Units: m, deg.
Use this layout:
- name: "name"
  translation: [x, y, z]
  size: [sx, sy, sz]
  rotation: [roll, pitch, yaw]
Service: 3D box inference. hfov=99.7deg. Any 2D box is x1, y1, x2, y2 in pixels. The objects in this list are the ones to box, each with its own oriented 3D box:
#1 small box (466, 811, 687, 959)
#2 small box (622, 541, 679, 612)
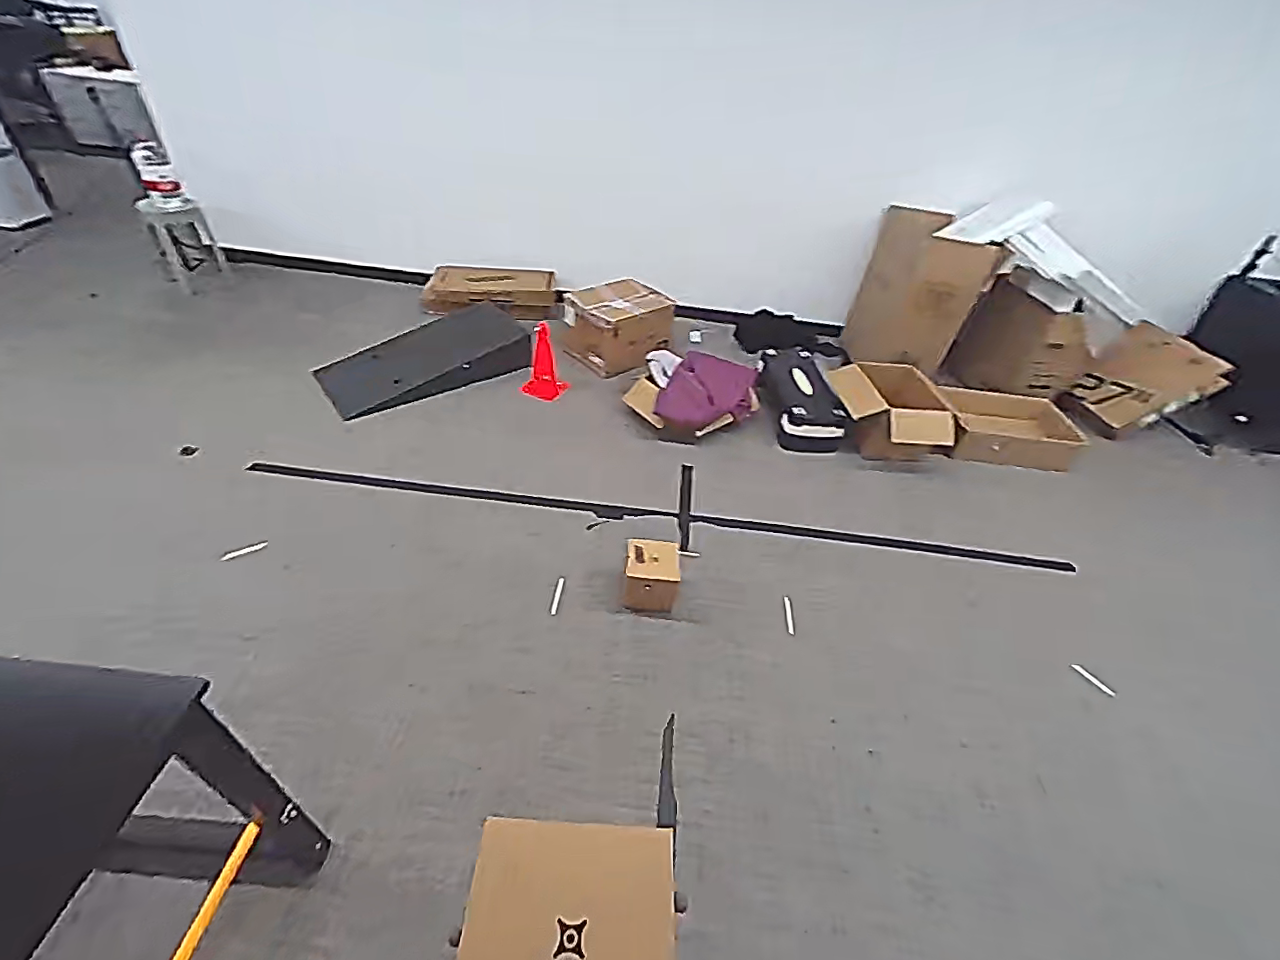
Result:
- name: "small box"
  translation: [-0.054, 0.410, 0.455]
  size: [0.168, 0.176, 0.179]
  rotation: [6, 41, -2]
- name: "small box"
  translation: [0.034, 0.329, 1.833]
  size: [0.179, 0.176, 0.168]
  rotation: [6, 41, -3]
